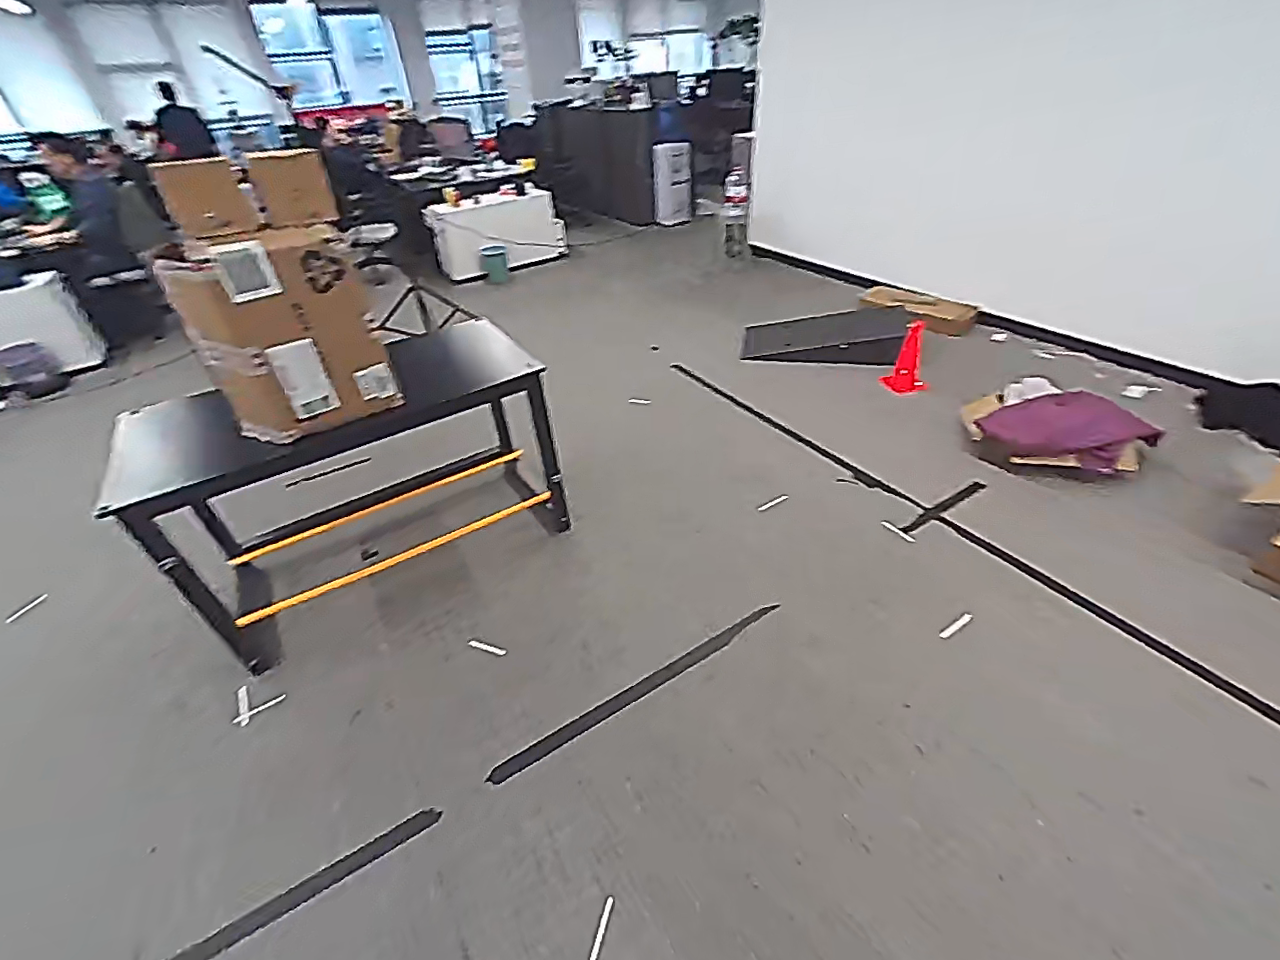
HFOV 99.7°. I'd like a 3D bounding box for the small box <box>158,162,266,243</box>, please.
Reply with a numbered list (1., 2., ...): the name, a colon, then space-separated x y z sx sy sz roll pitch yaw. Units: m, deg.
1. small box: -1.128 -0.735 1.429 0.168 0.176 0.179 -29 42 -29
